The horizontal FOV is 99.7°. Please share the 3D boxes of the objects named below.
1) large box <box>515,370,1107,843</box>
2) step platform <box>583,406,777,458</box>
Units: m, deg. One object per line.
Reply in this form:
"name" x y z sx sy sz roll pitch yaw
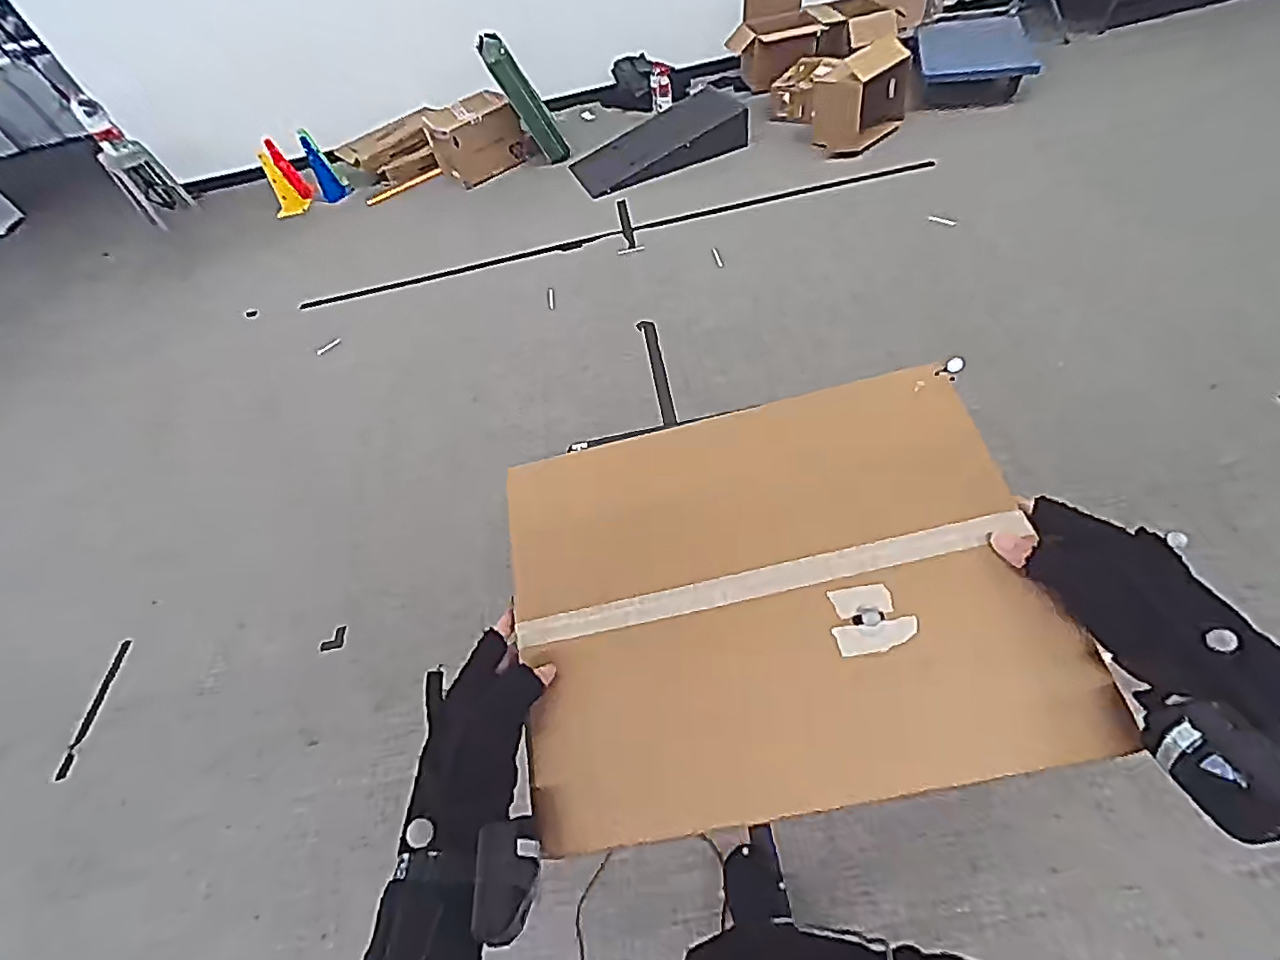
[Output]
"large box" 0.122 0.143 0.575 0.408 0.320 0.320 -14 64 5
"step platform" 0.158 -0.016 1.692 0.684 0.204 0.286 -12 52 1
